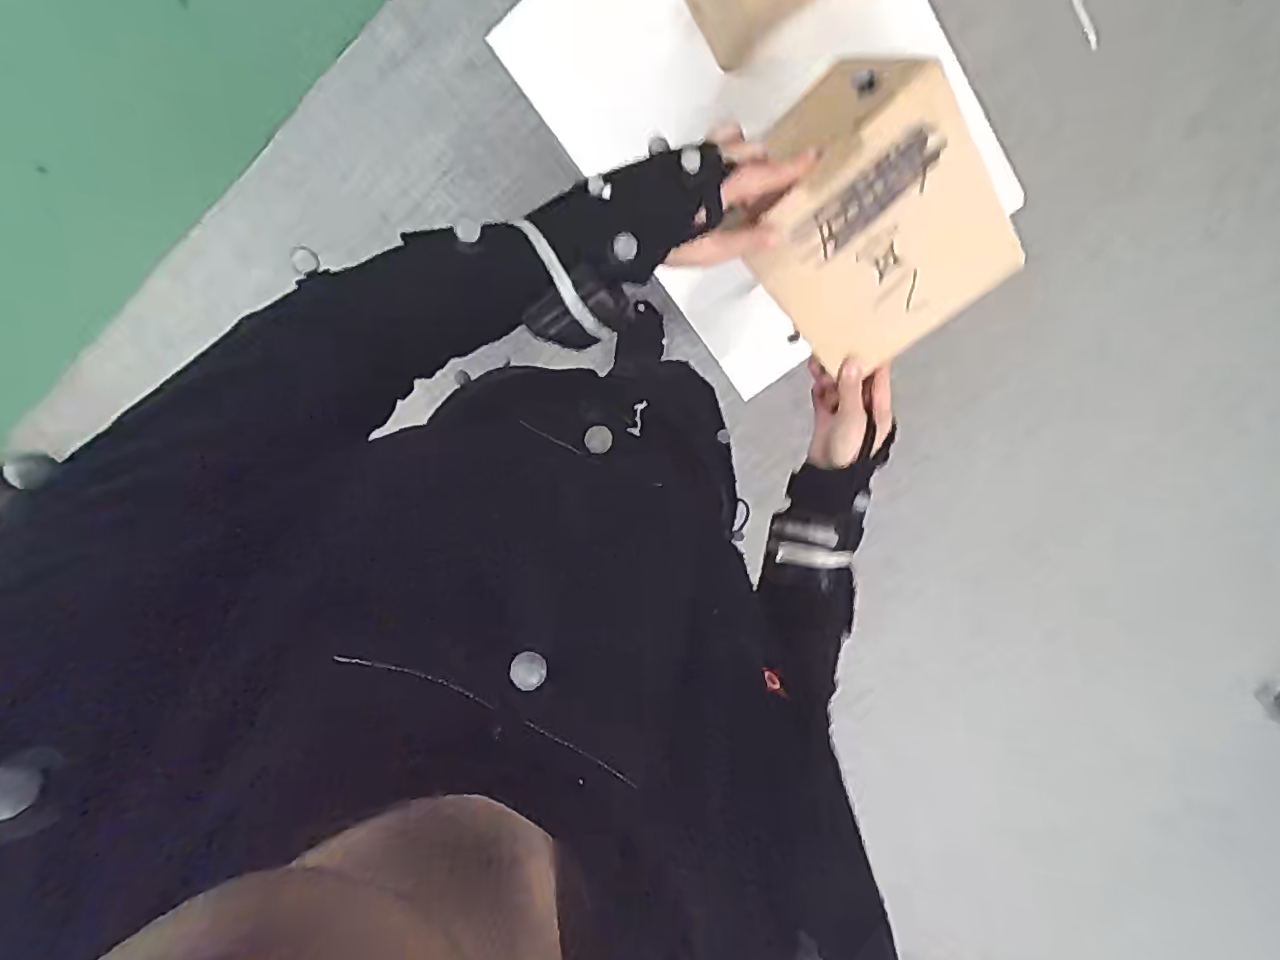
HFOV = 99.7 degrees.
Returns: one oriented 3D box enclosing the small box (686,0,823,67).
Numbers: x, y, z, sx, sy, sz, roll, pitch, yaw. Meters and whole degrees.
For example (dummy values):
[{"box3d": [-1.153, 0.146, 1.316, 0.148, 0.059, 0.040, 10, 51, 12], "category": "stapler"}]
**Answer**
[{"box3d": [0.121, -0.531, 0.486, 0.179, 0.176, 0.168, -32, 107, 12], "category": "small box"}]
